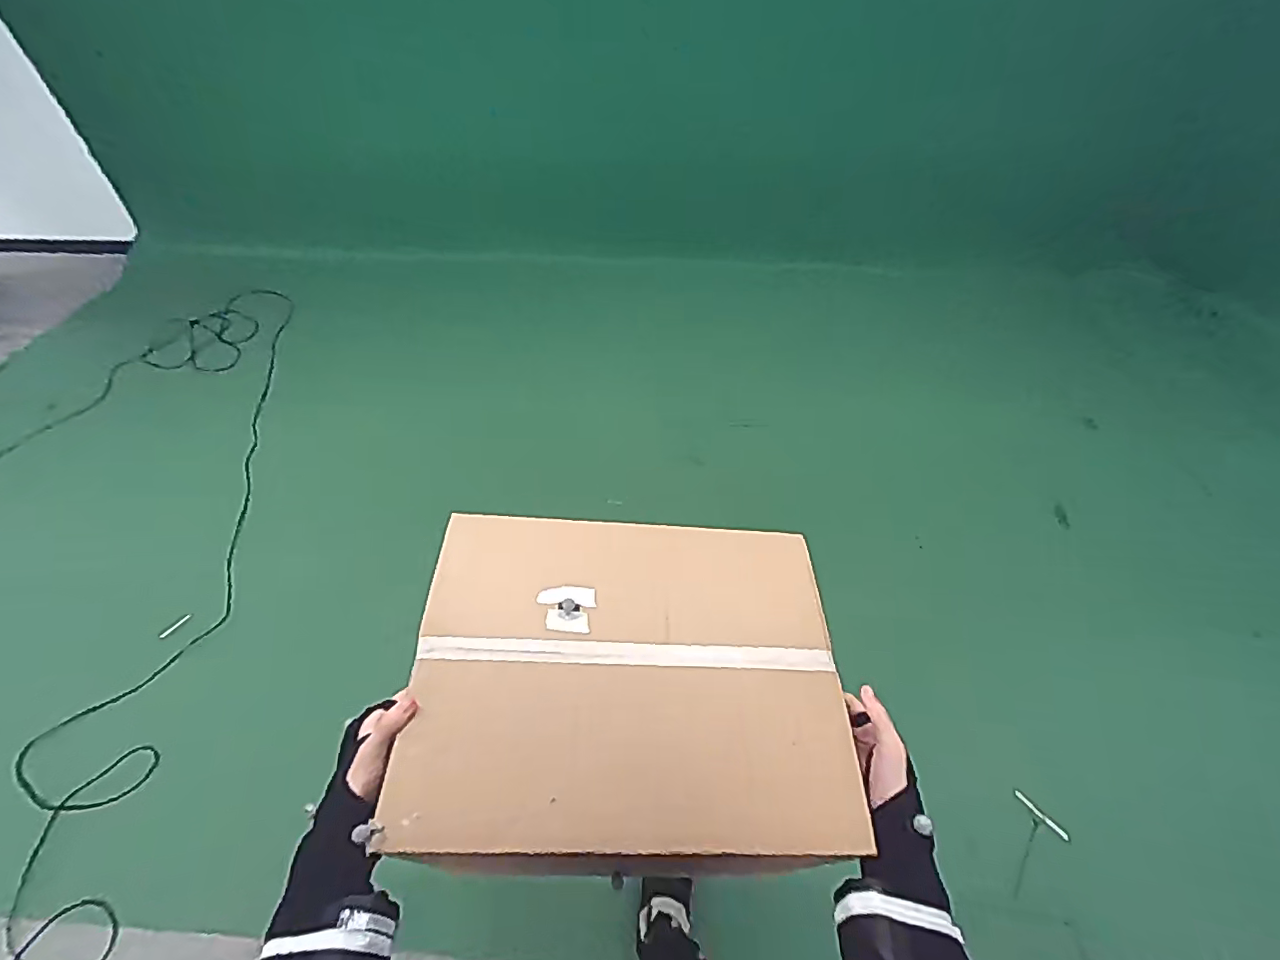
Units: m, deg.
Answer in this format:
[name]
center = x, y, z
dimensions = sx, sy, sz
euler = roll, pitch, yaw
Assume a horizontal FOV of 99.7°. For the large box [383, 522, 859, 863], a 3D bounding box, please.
[large box]
center = -0.023, 0.266, 0.652
dimensions = 0.408, 0.320, 0.320
euler = 3, 51, -5
